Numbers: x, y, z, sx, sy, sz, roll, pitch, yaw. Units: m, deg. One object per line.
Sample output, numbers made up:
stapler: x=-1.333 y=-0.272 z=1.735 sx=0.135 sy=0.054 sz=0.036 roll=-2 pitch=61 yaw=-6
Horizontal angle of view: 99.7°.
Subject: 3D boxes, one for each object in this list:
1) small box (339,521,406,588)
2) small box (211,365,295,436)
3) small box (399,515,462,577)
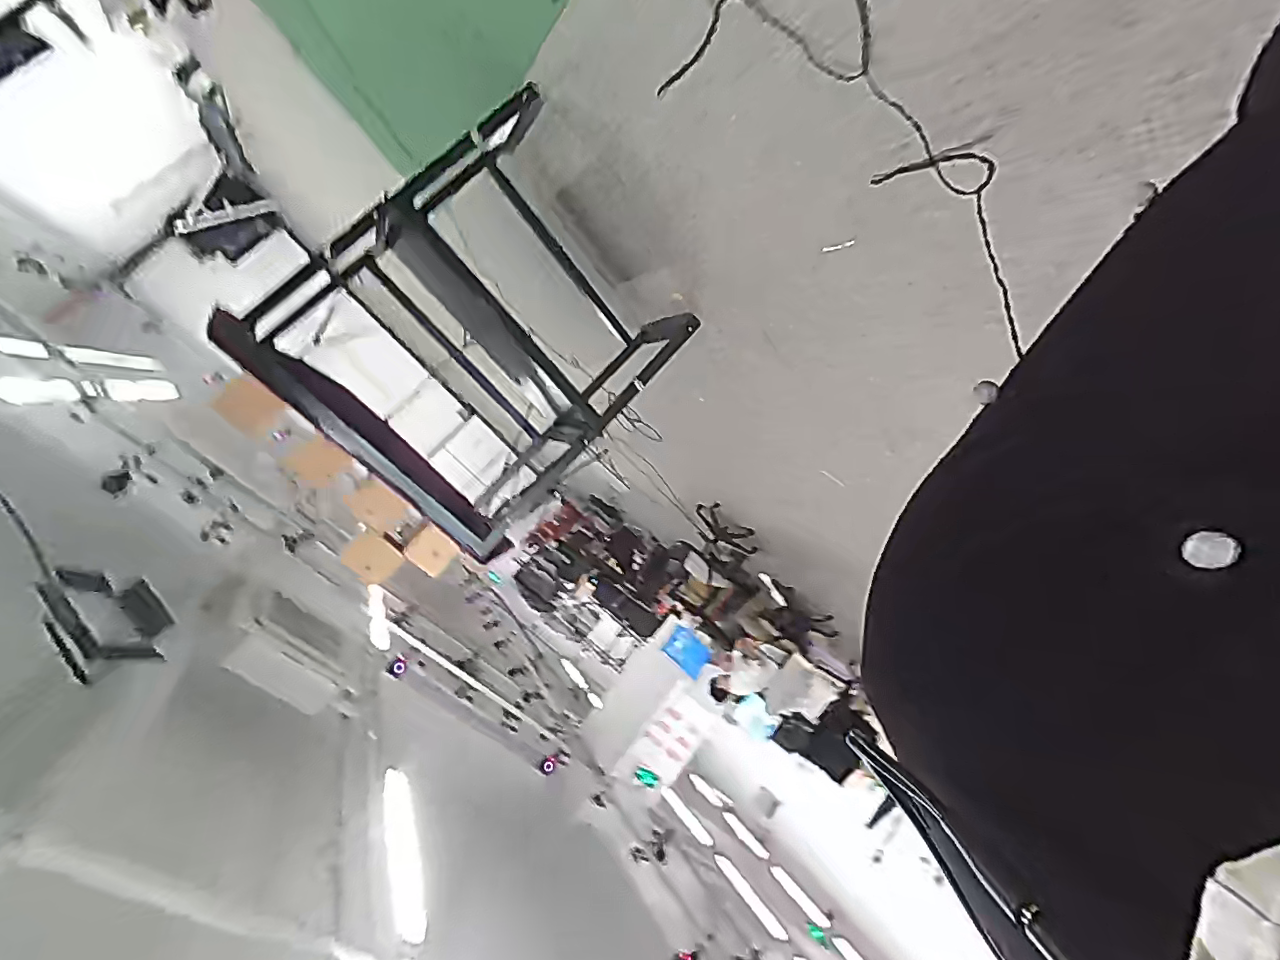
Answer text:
small box: x=-1.046 y=0.289 z=2.127 sx=0.179 sy=0.176 sz=0.168 roll=50 pitch=166 yaw=-24
small box: x=-1.334 y=-0.279 z=1.882 sx=0.179 sy=0.176 sz=0.168 roll=49 pitch=164 yaw=-29
small box: x=-0.858 y=0.265 z=2.226 sx=0.168 sy=0.176 sz=0.179 roll=50 pitch=167 yaw=-29
